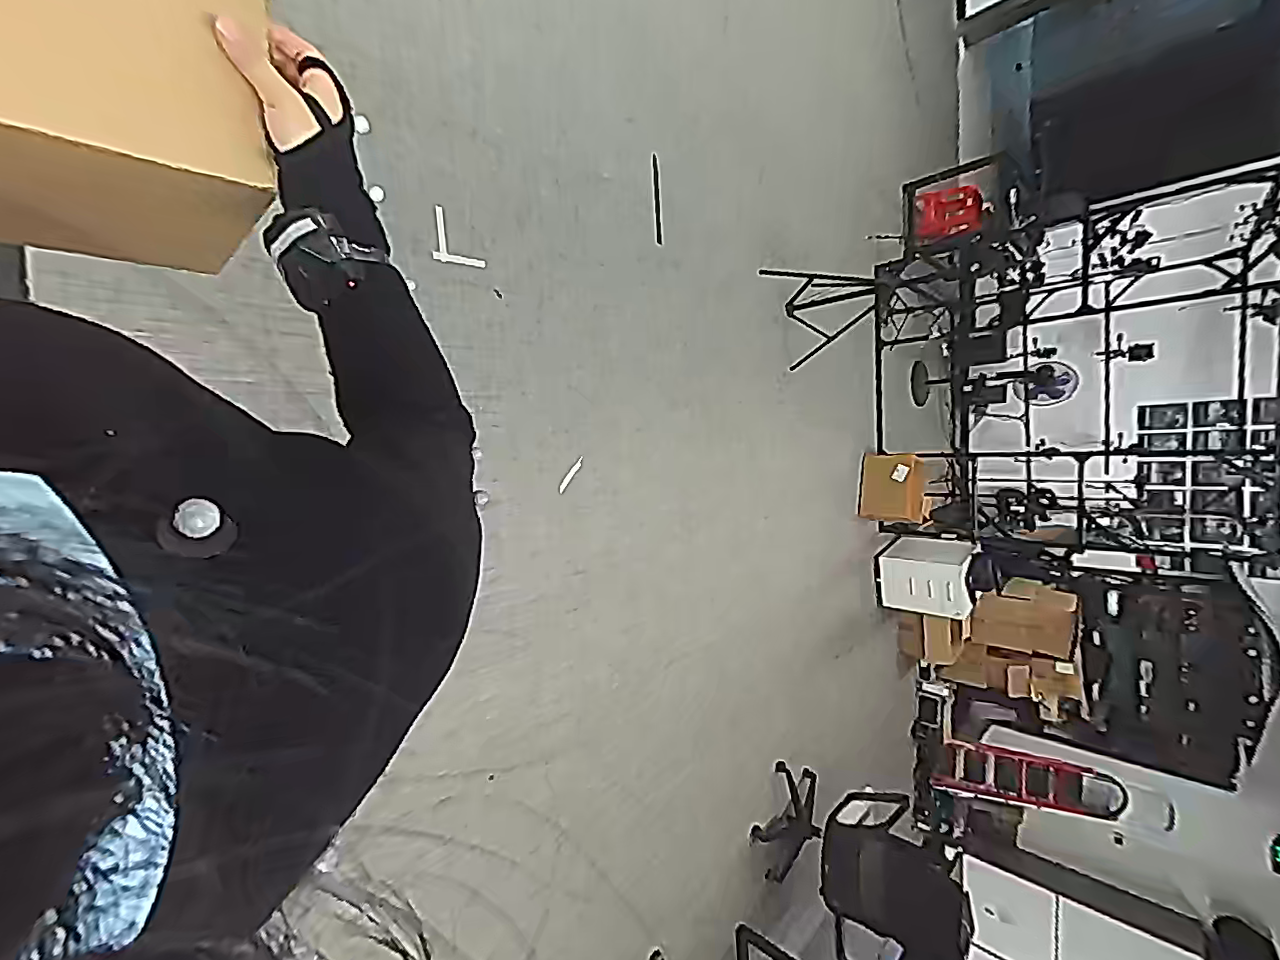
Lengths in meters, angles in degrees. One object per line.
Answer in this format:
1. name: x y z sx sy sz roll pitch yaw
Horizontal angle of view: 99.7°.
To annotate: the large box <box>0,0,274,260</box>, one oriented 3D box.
1. large box: -0.542 -0.381 0.390 0.408 0.320 0.320 -6 97 -44
